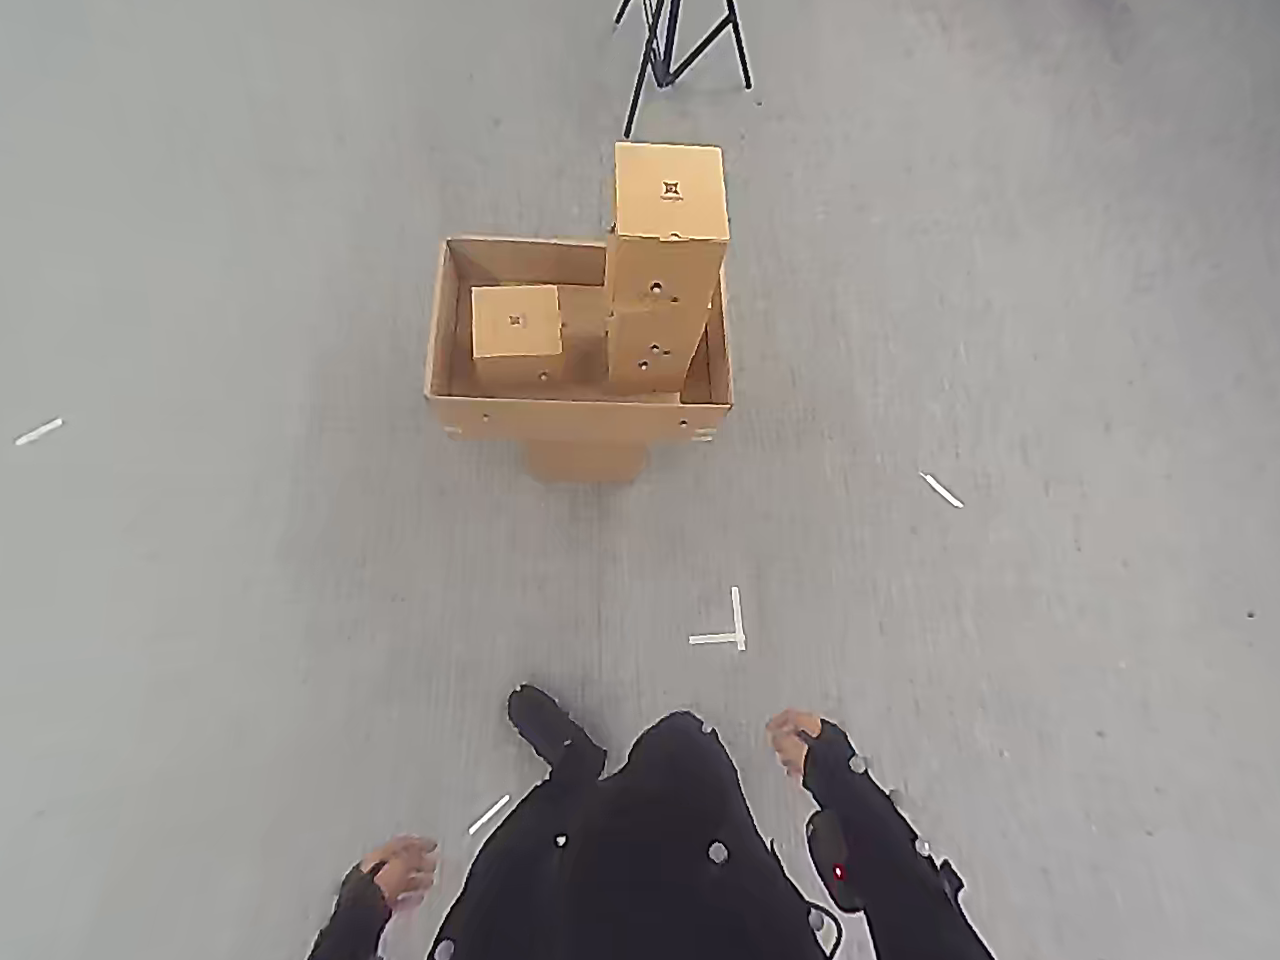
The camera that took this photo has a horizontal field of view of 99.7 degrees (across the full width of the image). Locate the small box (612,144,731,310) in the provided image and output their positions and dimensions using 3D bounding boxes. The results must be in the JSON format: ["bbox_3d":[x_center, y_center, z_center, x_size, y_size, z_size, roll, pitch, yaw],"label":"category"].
[{"bbox_3d":[0.041,-0.400,0.873,0.168,0.176,0.179,-1,74,-6],"label":"small box"}]
